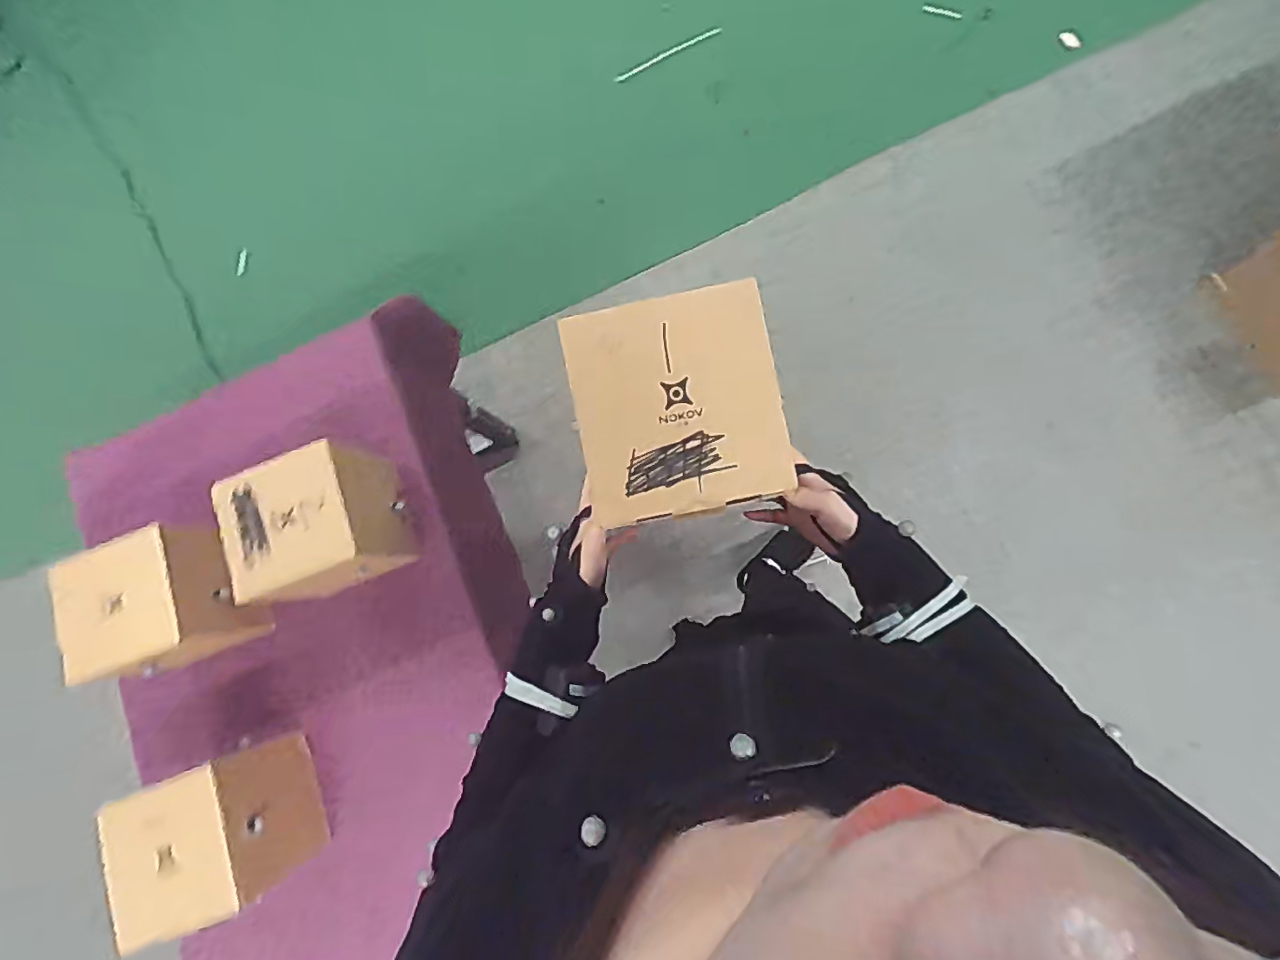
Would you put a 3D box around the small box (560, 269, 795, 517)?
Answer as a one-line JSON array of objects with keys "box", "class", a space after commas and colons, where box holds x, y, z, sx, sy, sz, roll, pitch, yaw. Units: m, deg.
[{"box": [0.033, -0.070, 0.511, 0.168, 0.176, 0.179, -11, 90, 2], "class": "small box"}]

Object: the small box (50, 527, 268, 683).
[{"box": [-0.694, 0.176, 0.804, 0.179, 0.176, 0.168, -22, 80, 5], "class": "small box"}]

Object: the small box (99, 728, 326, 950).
[{"box": [-0.570, 0.474, 0.742, 0.168, 0.176, 0.179, -21, 79, 3], "class": "small box"}]
